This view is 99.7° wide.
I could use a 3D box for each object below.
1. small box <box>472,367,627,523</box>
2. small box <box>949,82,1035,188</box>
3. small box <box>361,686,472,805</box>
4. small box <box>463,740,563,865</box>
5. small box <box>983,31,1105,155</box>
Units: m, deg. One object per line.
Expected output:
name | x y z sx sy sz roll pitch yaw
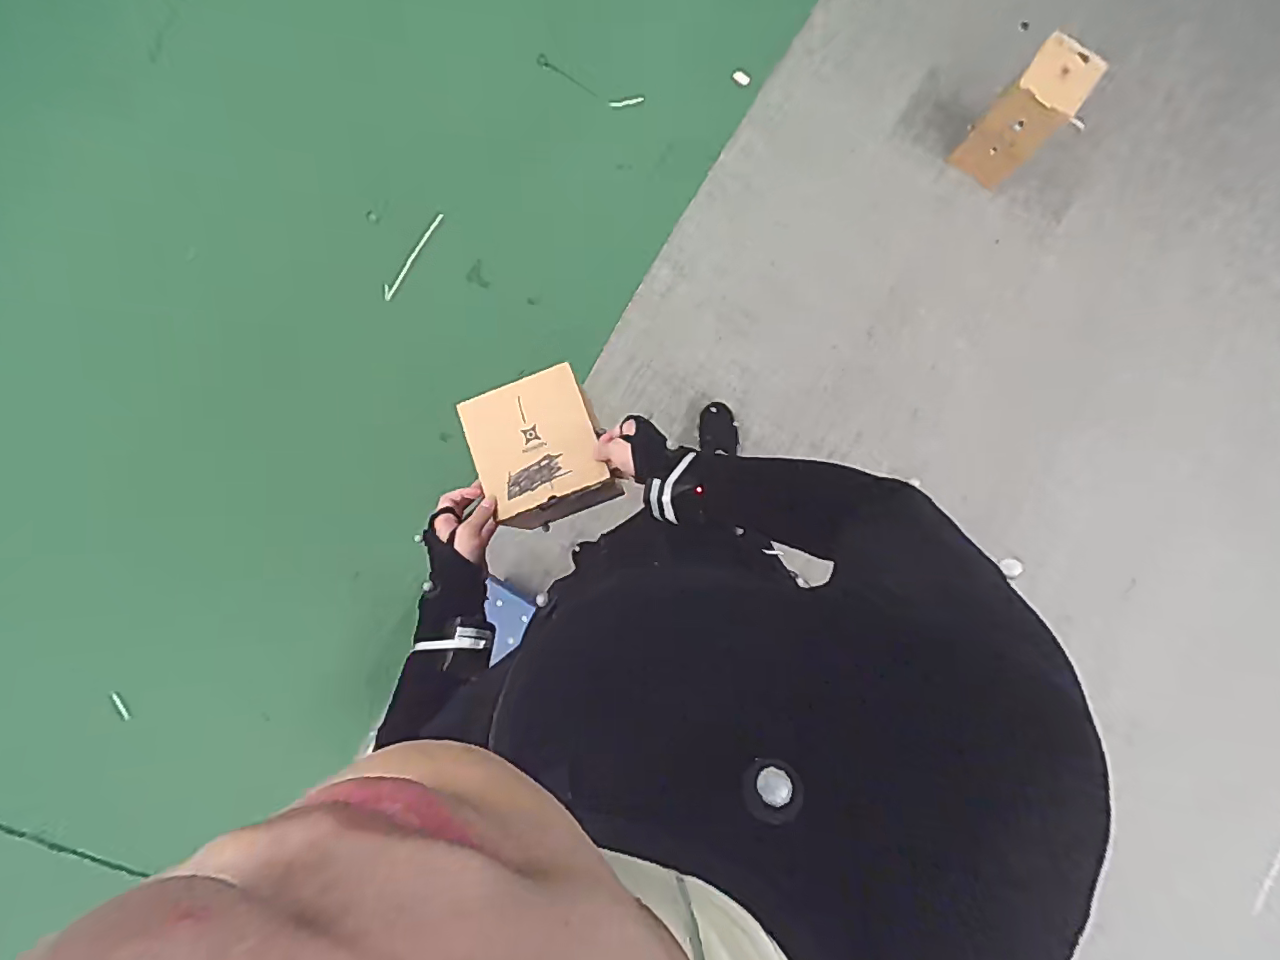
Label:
small box | -0.125 -0.040 0.812 0.168 0.176 0.179 -19 80 0
small box | 1.074 -1.020 1.615 0.179 0.176 0.168 36 89 1
small box | -0.549 0.657 1.357 0.168 0.176 0.179 31 88 0
small box | -0.307 0.798 1.357 0.168 0.176 0.179 32 87 1
small box | 1.067 -1.026 1.451 0.168 0.176 0.179 35 90 1
